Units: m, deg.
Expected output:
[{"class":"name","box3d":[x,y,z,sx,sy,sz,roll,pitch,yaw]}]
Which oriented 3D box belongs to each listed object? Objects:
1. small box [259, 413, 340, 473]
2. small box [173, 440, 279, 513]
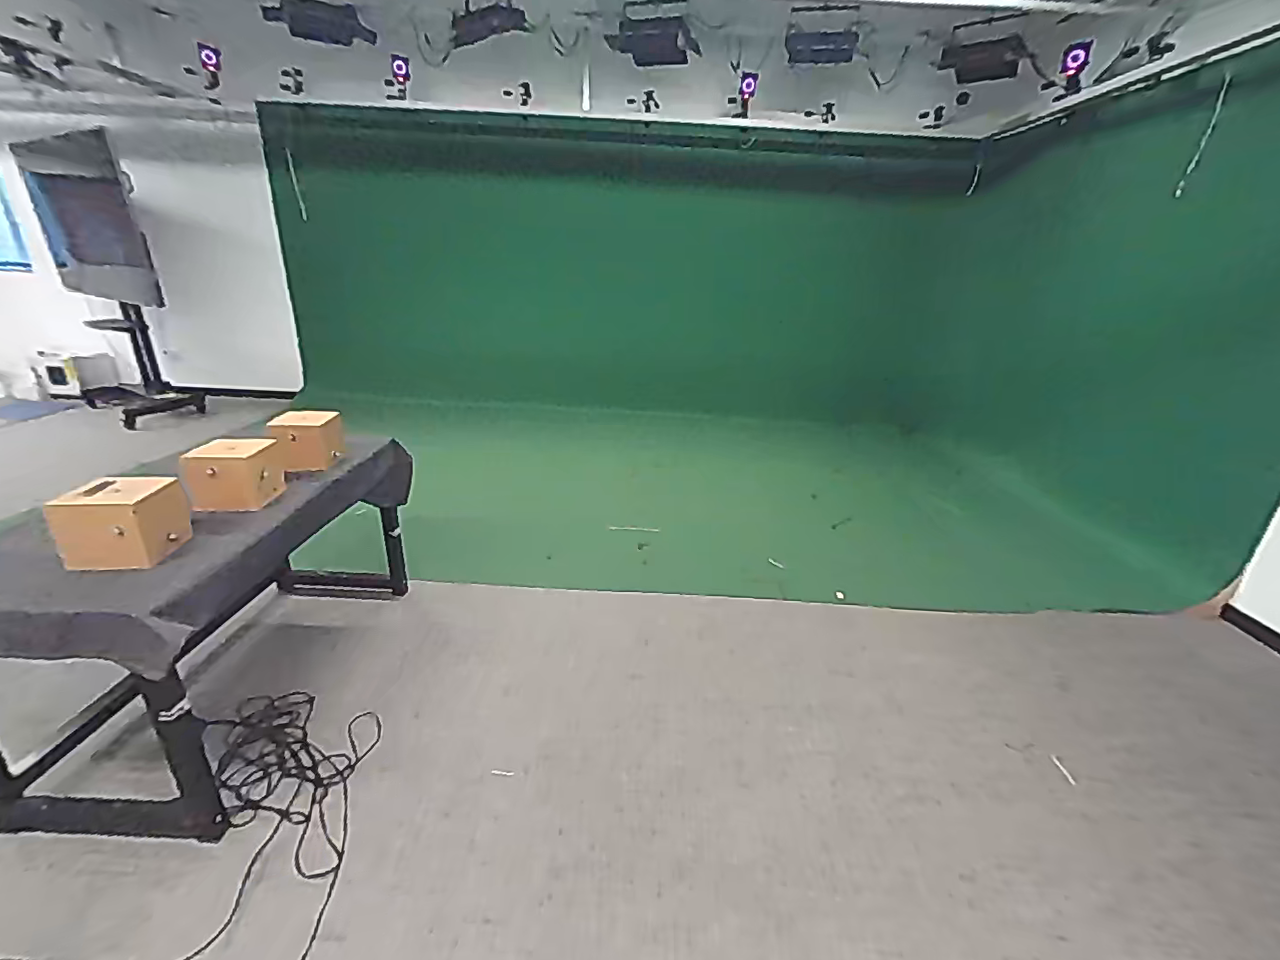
[{"class":"small box","box3d":[-1.173,-0.130,1.878,0.179,0.176,0.168,1,23,-7]},{"class":"small box","box3d":[-1.192,-0.010,1.576,0.179,0.176,0.168,0,22,-5]}]
